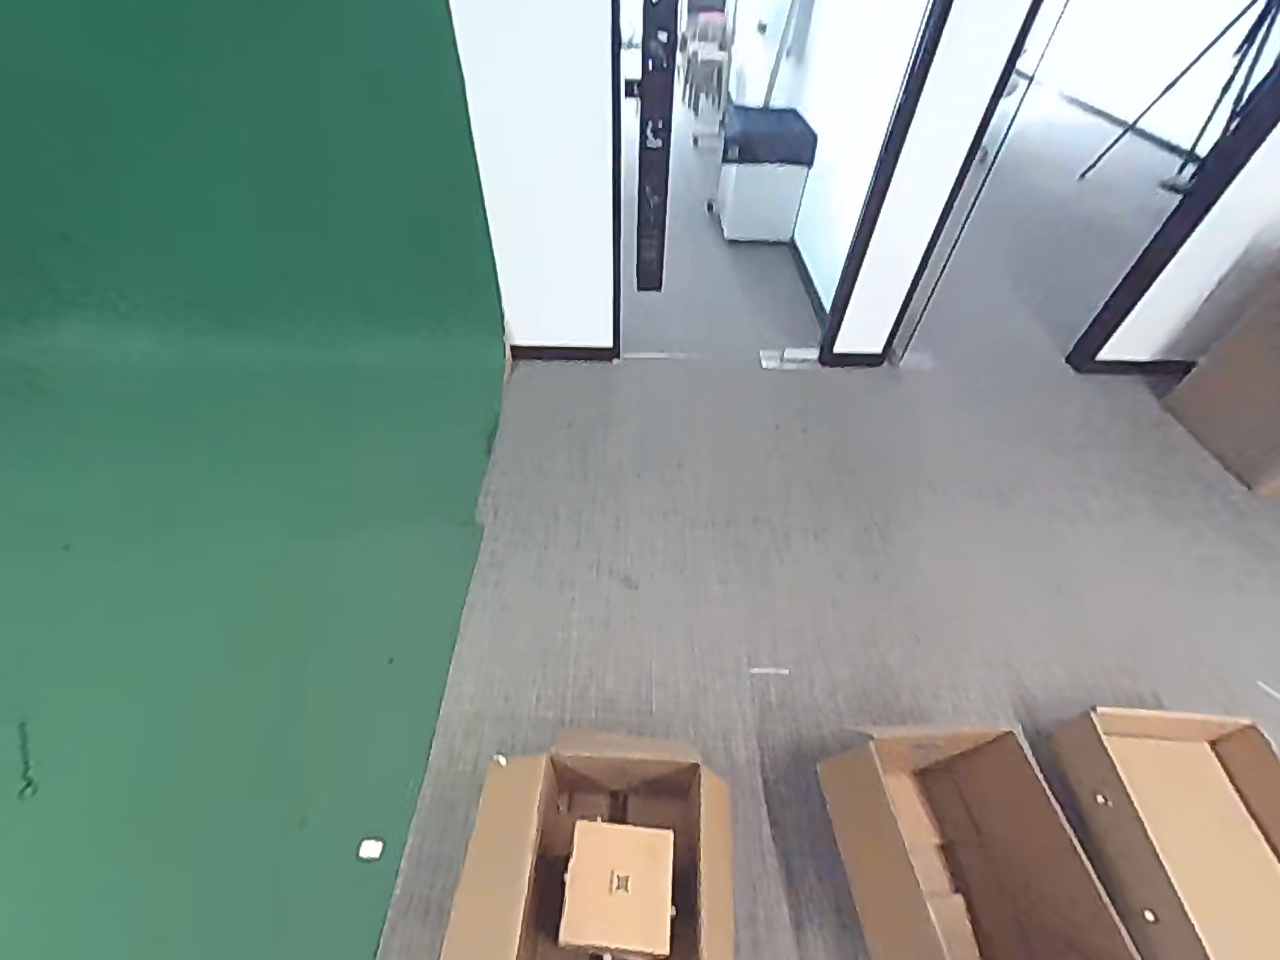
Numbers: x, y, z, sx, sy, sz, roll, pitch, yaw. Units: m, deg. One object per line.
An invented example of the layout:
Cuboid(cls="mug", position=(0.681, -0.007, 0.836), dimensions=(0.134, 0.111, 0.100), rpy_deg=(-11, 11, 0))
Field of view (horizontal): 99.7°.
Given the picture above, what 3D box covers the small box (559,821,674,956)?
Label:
Cuboid(cls="small box", position=(-0.039, 0.722, 0.954), dimensions=(0.179, 0.176, 0.168), rpy_deg=(5, 47, 1))
